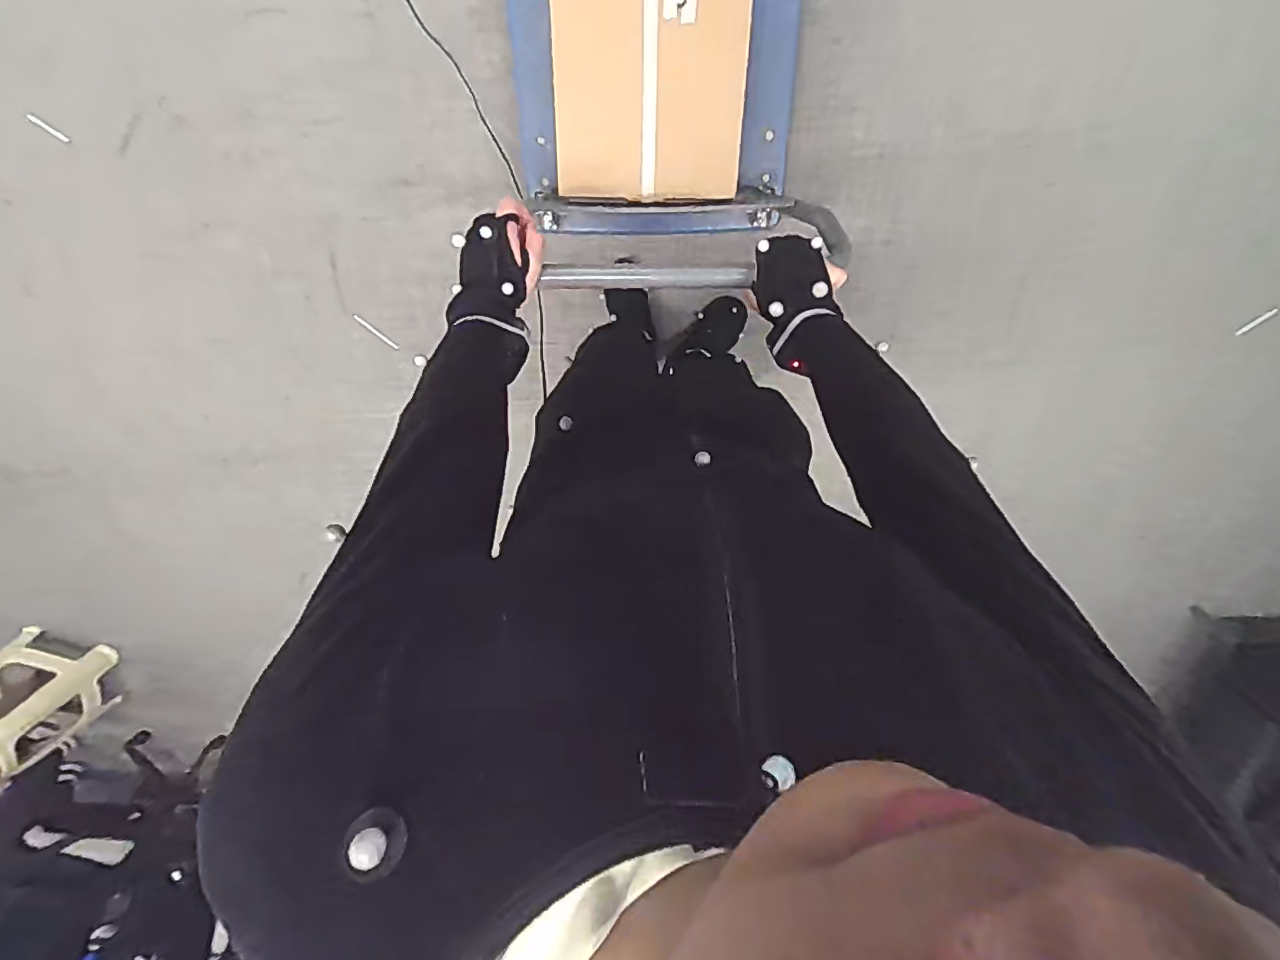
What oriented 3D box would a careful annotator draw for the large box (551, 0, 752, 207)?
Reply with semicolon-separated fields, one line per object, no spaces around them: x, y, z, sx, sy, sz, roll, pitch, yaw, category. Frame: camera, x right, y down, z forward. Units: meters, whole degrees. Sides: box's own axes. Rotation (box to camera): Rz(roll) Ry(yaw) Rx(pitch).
0.025;-0.733;0.995;0.320;0.320;0.408;1;116;2;large box
